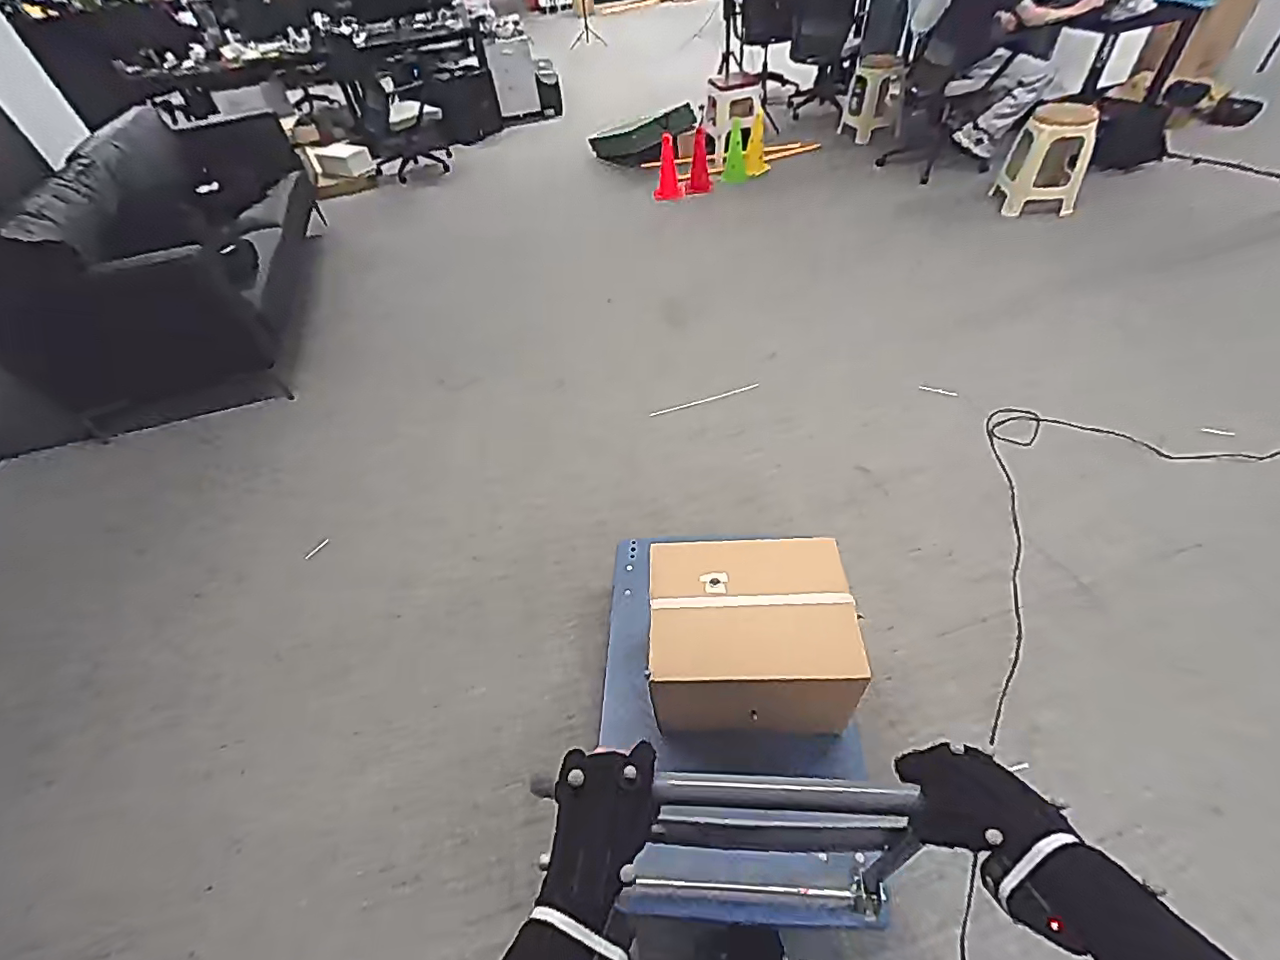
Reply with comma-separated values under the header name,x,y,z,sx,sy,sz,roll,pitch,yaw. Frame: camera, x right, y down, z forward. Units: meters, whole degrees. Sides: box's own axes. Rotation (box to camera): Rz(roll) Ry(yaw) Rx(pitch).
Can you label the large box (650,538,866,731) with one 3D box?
name,x,y,z,sx,sy,sz,roll,pitch,yaw
large box,0.238,0.354,1.210,0.408,0.320,0.320,-4,47,6
